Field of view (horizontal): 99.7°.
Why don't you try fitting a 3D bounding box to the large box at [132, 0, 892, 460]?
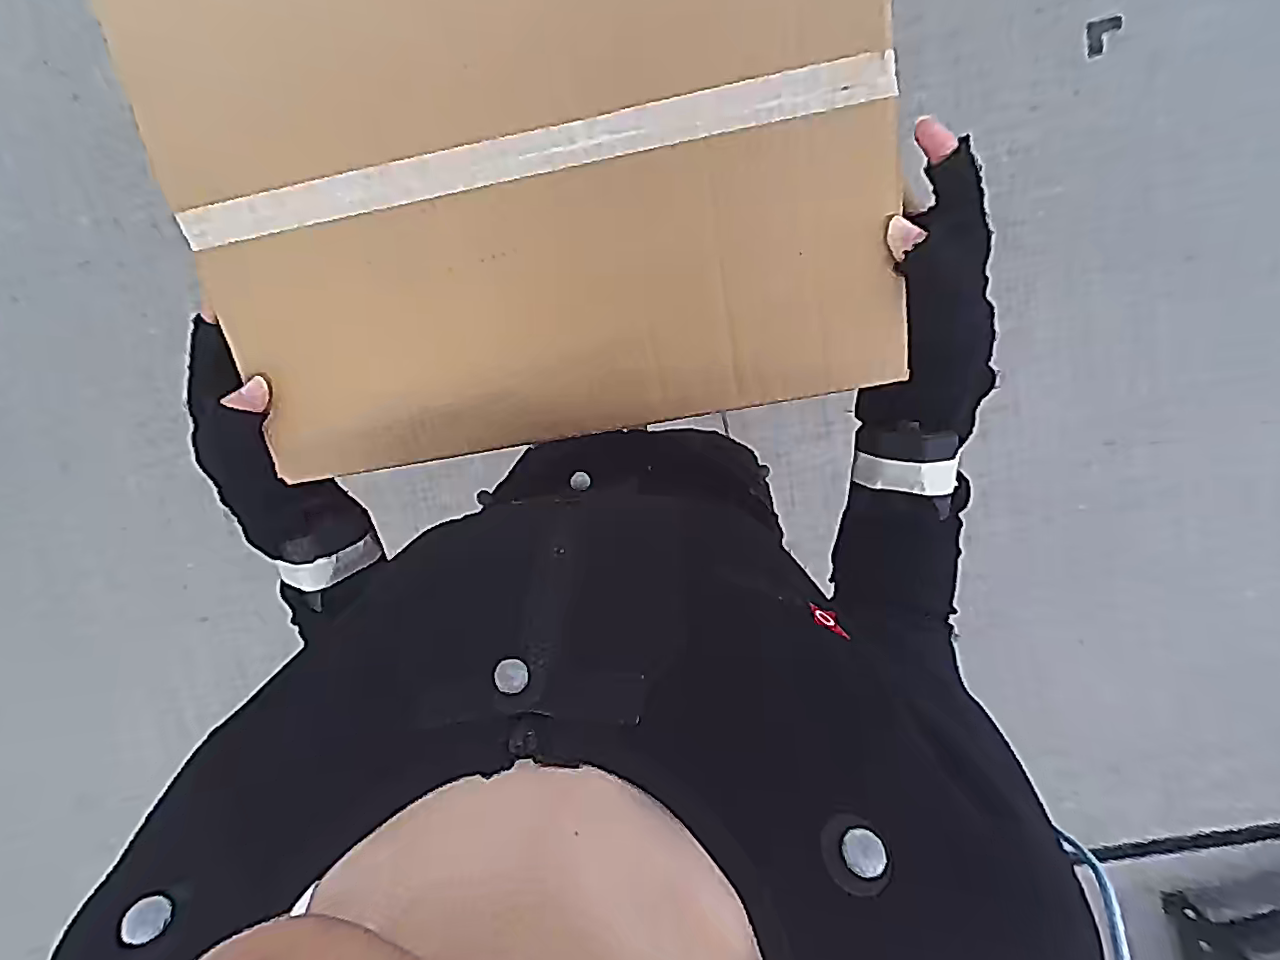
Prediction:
[{"bbox_3d":[-0.061,-0.231,0.454,0.408,0.320,0.320,-9,107,5],"label":"large box"}]
